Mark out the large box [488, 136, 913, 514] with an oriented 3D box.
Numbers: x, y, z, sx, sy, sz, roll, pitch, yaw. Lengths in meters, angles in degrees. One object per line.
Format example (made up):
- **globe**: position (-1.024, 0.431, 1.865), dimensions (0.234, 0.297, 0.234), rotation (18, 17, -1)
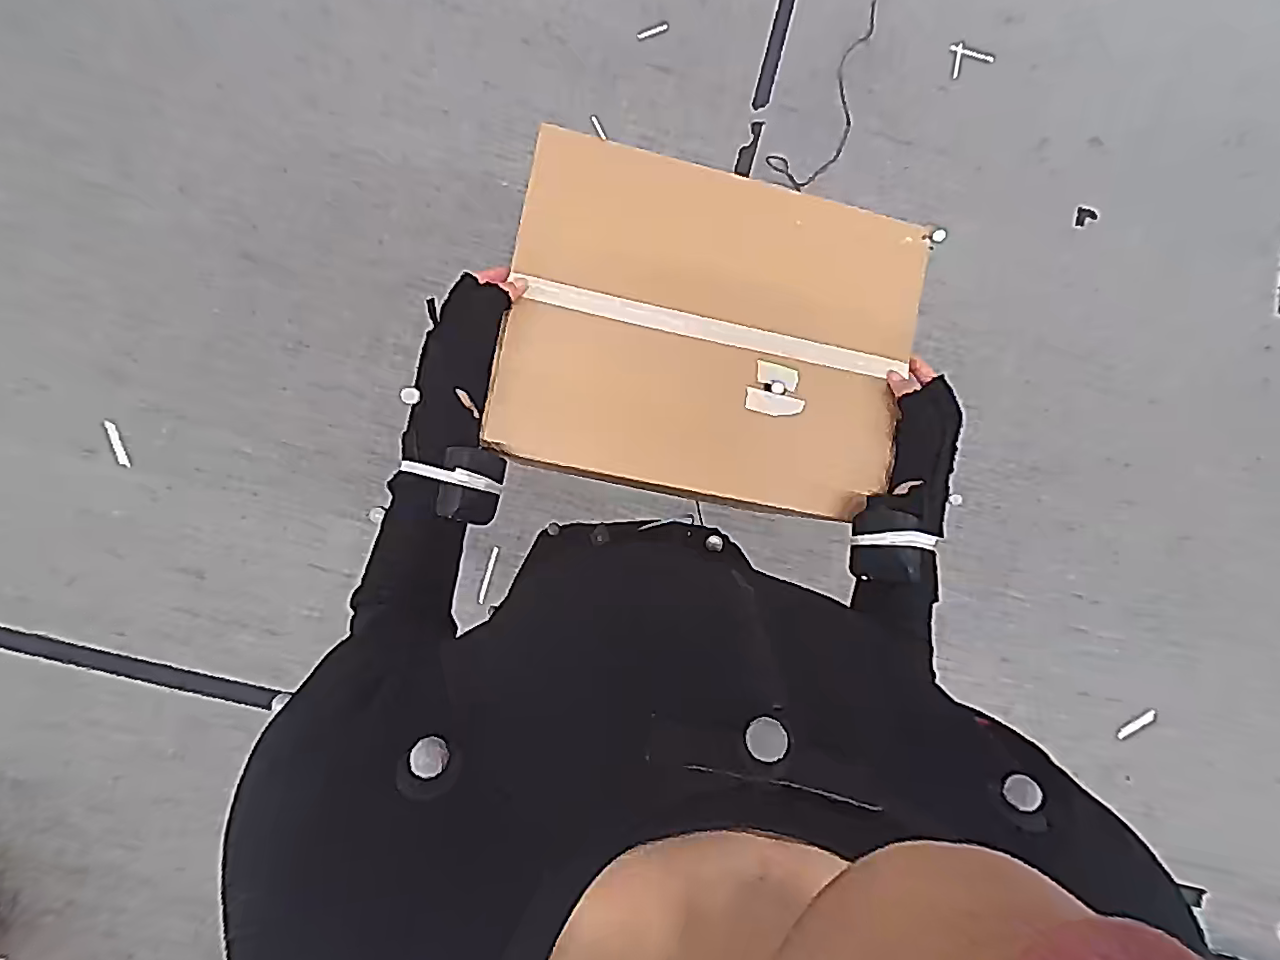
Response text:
- **large box**: position (0.050, -0.147, 0.688), dimensions (0.408, 0.320, 0.320), rotation (11, 89, -9)
